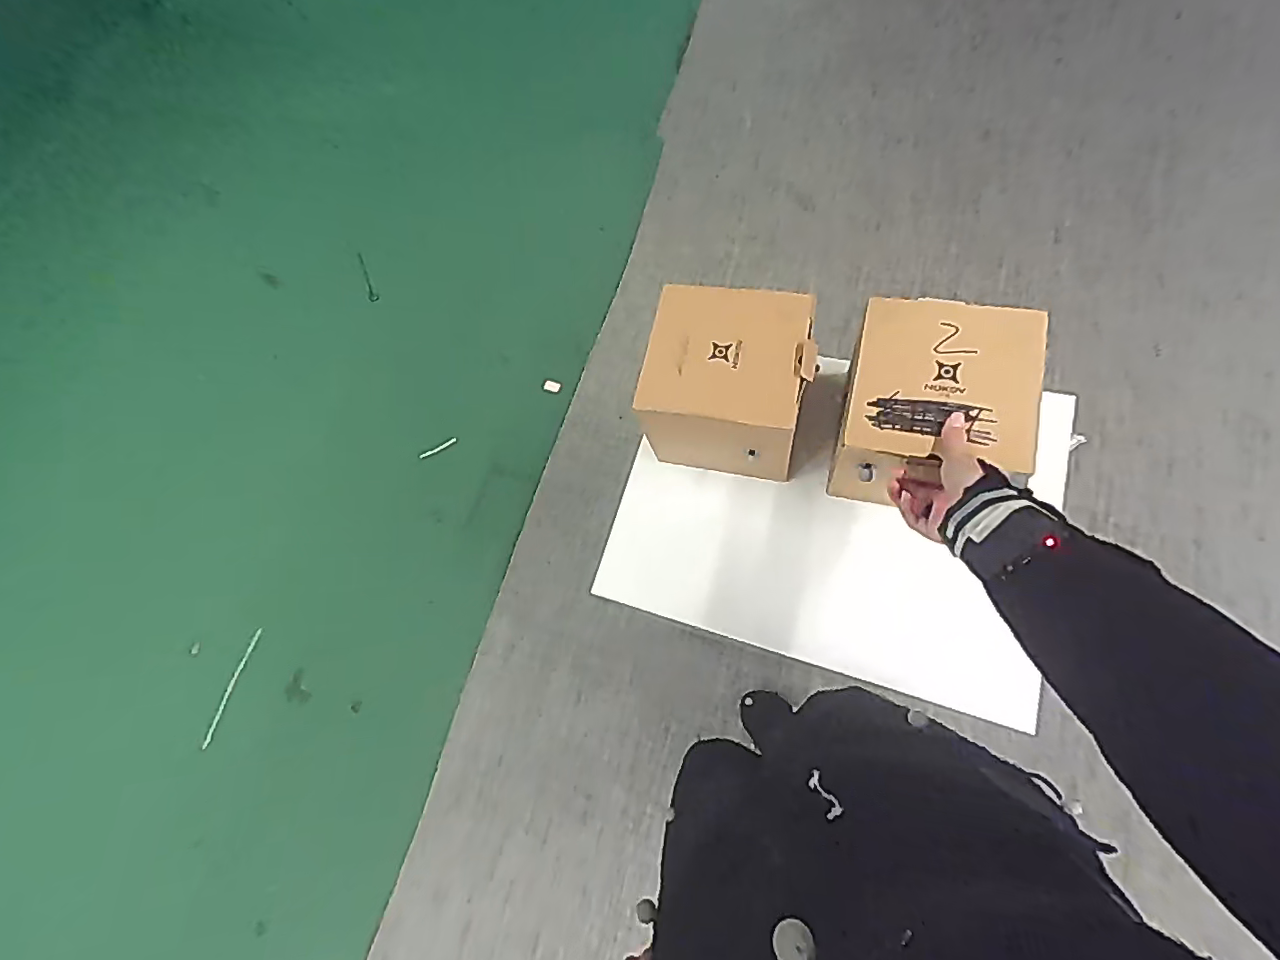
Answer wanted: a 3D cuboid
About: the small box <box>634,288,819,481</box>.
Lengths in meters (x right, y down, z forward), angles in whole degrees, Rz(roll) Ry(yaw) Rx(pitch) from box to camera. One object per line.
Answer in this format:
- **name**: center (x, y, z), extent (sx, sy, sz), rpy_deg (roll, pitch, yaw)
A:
- **small box**: center (0.110, -0.108, 0.662), extent (0.179, 0.176, 0.168), rpy_deg (9, 72, 16)
